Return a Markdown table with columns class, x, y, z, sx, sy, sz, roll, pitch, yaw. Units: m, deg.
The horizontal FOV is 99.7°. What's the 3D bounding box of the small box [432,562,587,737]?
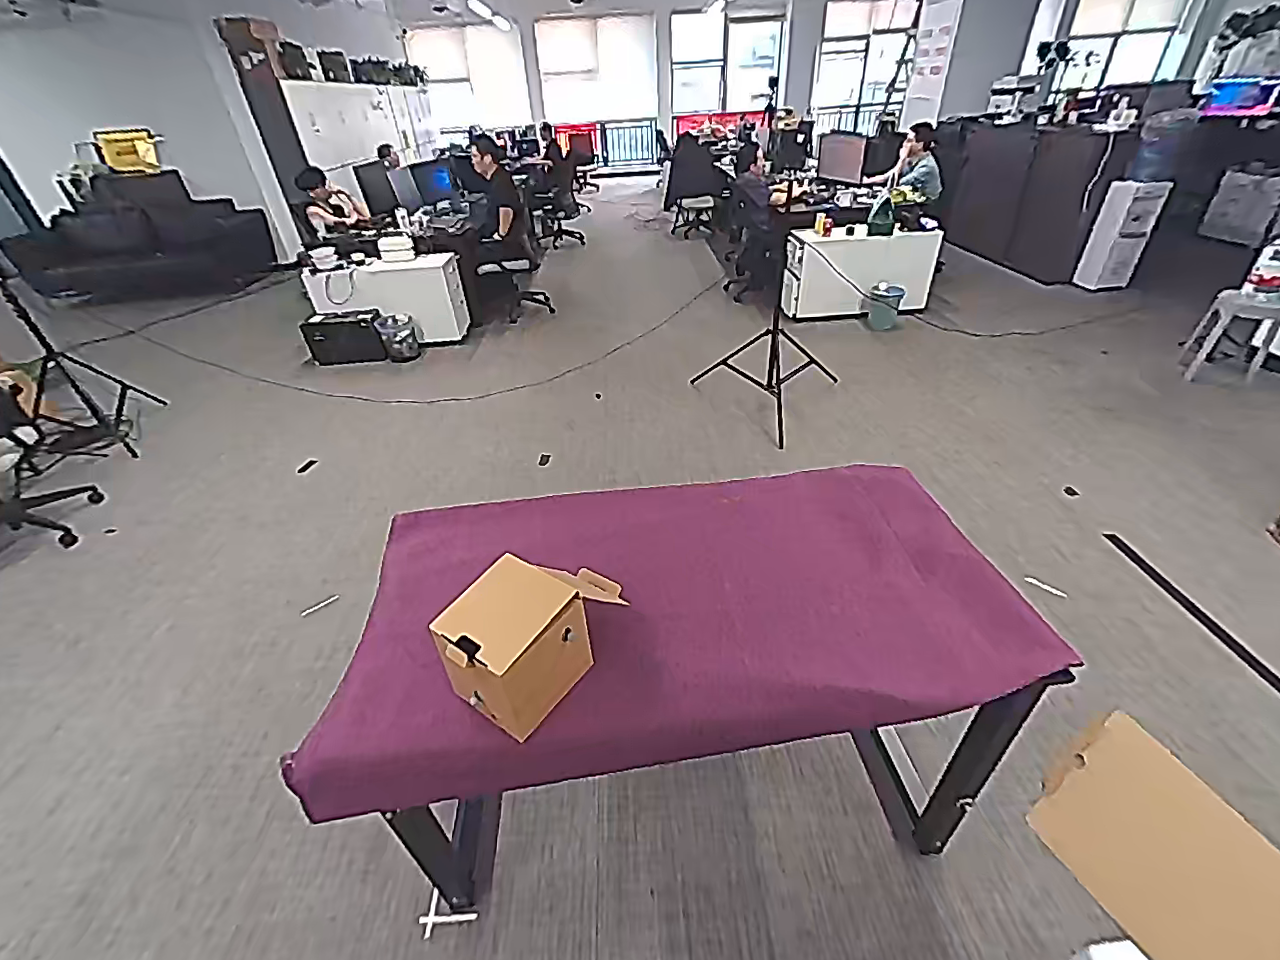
| class | x | y | z | sx | sy | sz | roll | pitch | yaw |
| --- | --- | --- | --- | --- | --- | --- | --- | --- | --- |
| small box | -0.202 | 0.272 | 0.886 | 0.168 | 0.176 | 0.179 | 19 | 41 | 31 |
